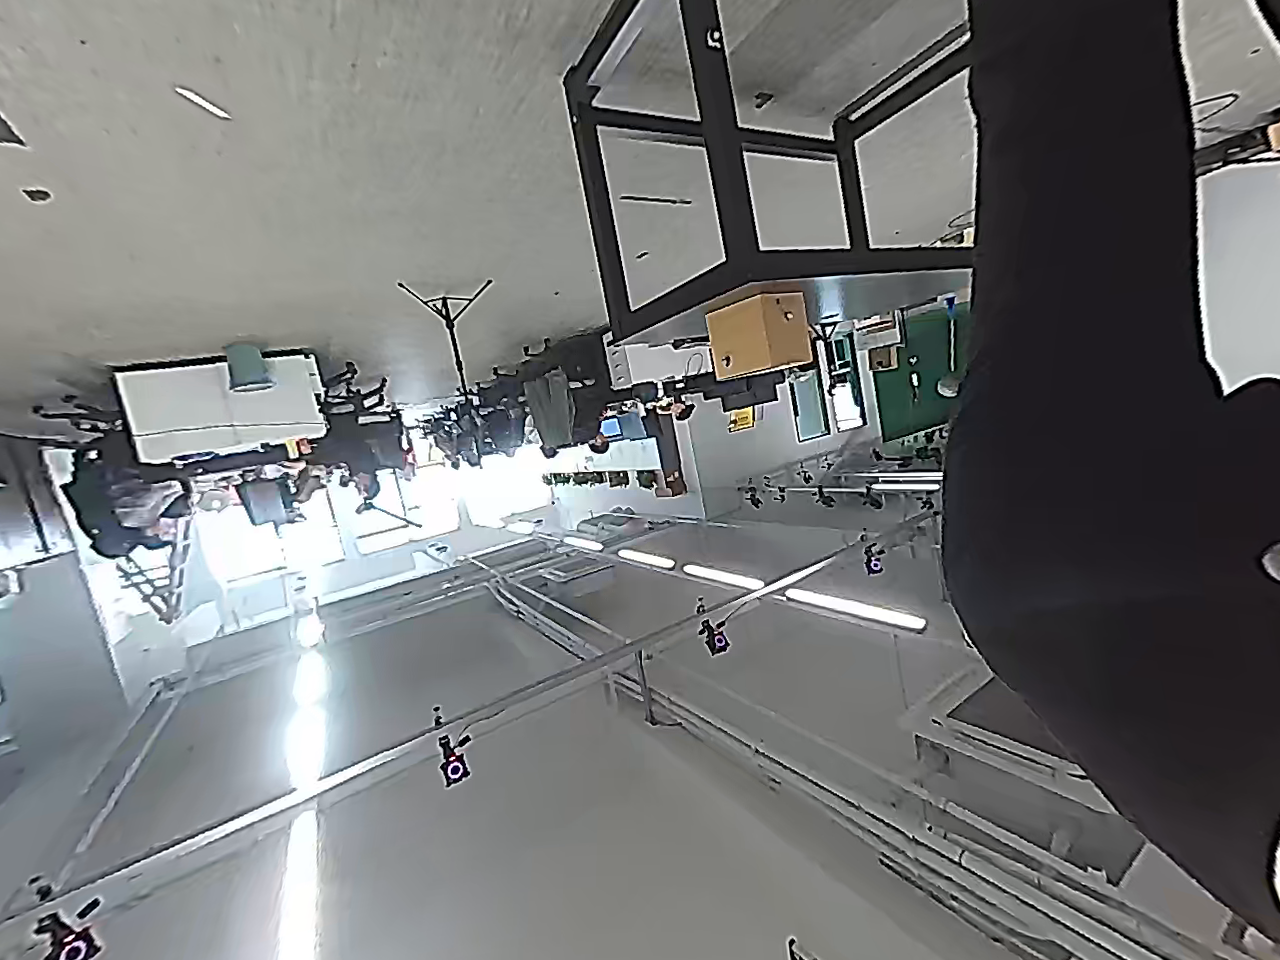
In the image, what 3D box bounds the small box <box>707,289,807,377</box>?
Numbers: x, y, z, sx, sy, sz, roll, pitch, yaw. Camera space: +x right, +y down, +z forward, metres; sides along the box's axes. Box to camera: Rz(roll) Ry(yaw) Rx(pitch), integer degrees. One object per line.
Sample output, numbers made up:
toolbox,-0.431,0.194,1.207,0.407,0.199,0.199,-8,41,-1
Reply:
small box,0.279,-0.356,1.313,0.168,0.176,0.179,-18,-170,-37
